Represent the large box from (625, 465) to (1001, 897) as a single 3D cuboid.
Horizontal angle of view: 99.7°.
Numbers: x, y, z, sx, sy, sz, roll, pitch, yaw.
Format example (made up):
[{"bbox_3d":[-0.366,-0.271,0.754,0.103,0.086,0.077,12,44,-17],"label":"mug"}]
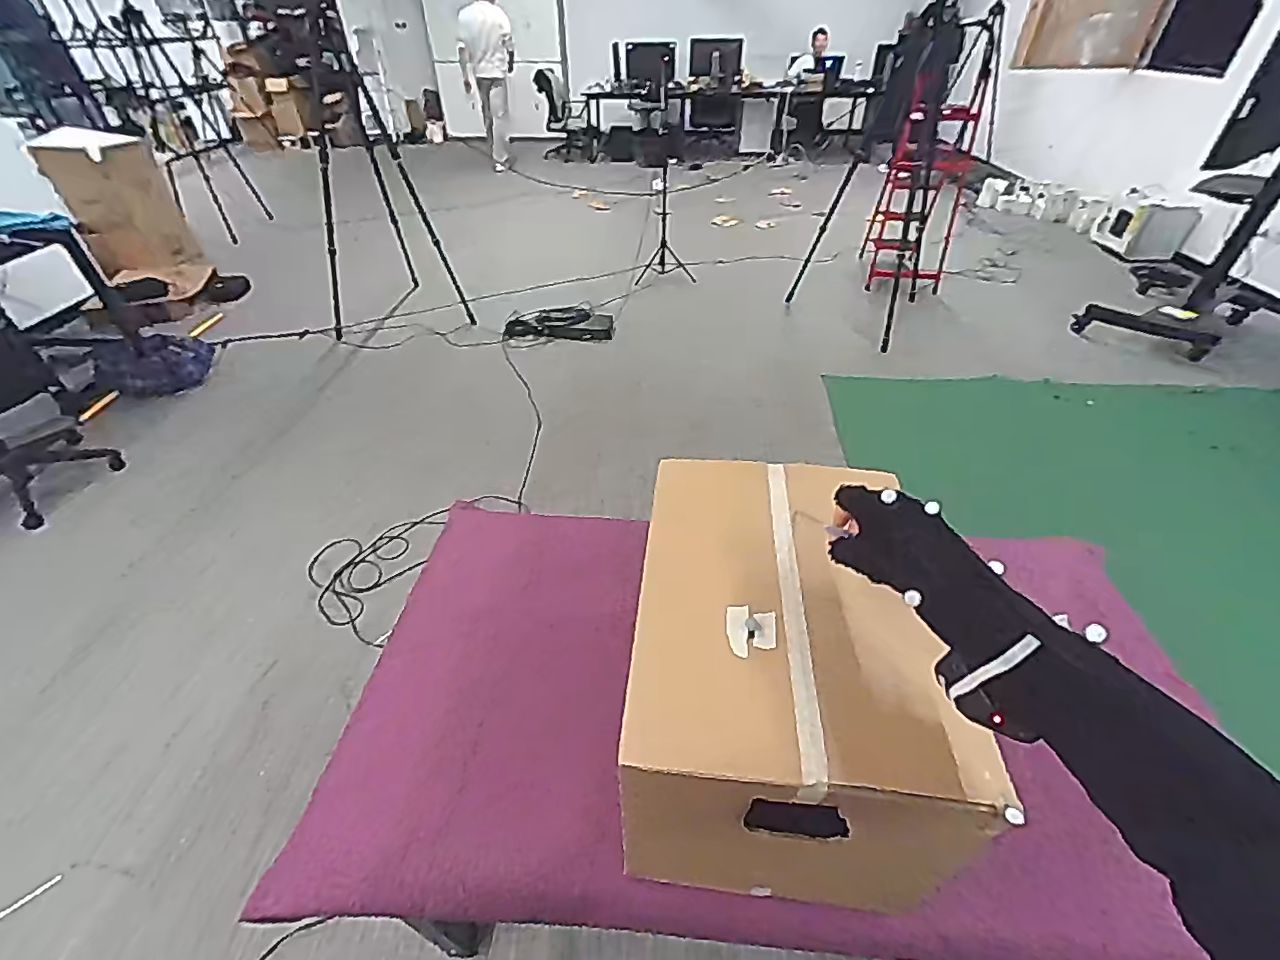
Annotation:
[{"bbox_3d":[0.156,0.232,0.687,0.320,0.320,0.408,4,41,5],"label":"large box"}]
